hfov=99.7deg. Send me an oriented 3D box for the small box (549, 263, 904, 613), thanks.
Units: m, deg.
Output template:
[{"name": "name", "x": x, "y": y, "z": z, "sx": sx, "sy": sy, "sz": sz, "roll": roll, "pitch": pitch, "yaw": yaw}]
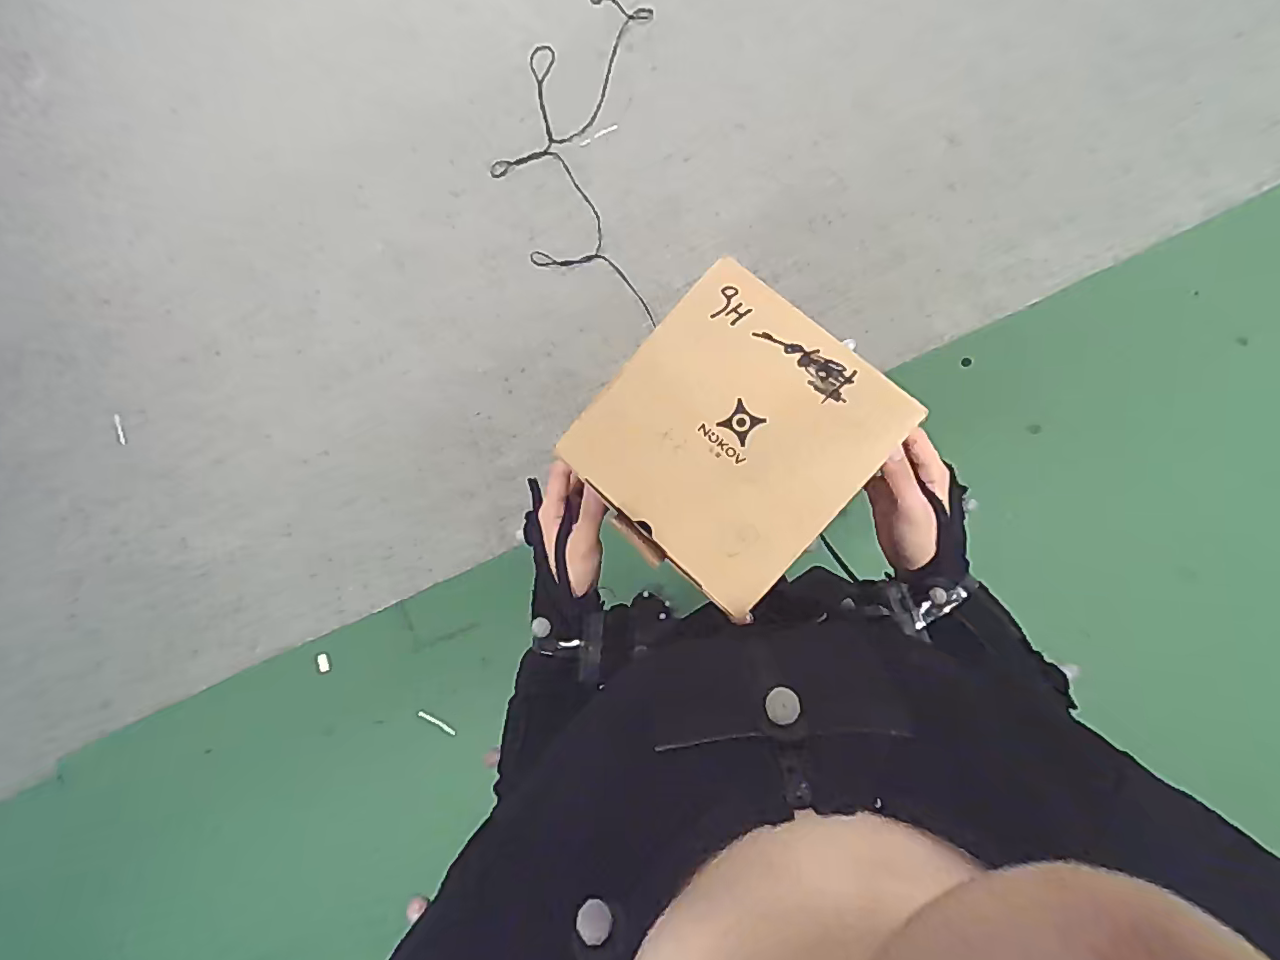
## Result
[{"name": "small box", "x": 0.064, "y": -0.023, "z": 0.431, "sx": 0.168, "sy": 0.176, "sz": 0.179, "roll": 42, "pitch": 93, "yaw": 10}]
